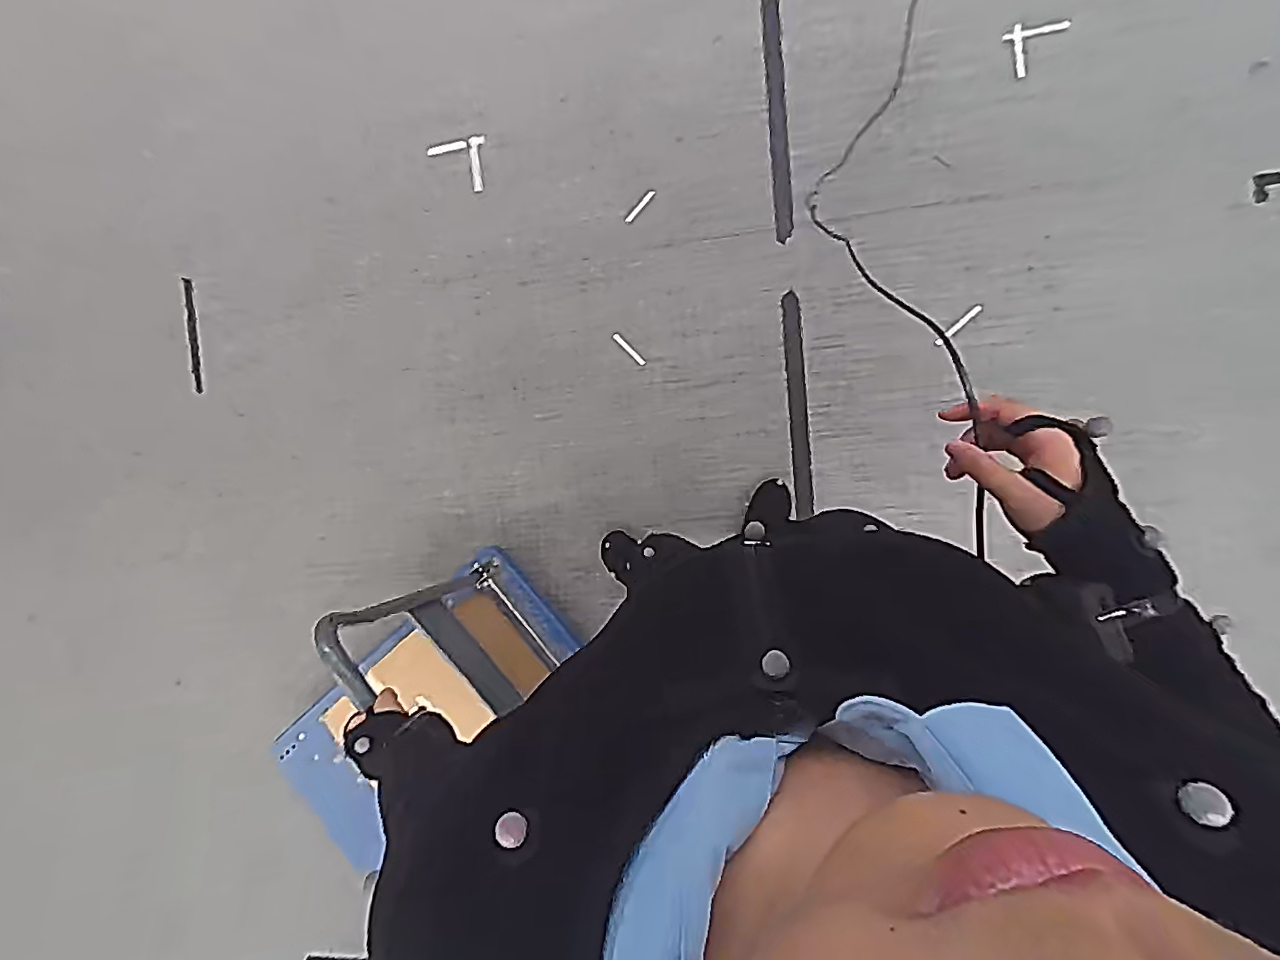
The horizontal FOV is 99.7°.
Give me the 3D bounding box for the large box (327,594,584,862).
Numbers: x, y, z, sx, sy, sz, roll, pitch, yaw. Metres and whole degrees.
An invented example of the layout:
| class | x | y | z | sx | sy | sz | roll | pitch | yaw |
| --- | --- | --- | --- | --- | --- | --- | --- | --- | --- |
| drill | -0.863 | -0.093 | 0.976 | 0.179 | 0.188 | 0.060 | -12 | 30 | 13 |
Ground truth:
| class | x | y | z | sx | sy | sz | roll | pitch | yaw |
| --- | --- | --- | --- | --- | --- | --- | --- | --- | --- |
| large box | -0.398 | 0.539 | 1.250 | 0.320 | 0.320 | 0.408 | -42 | 84 | 6 |
